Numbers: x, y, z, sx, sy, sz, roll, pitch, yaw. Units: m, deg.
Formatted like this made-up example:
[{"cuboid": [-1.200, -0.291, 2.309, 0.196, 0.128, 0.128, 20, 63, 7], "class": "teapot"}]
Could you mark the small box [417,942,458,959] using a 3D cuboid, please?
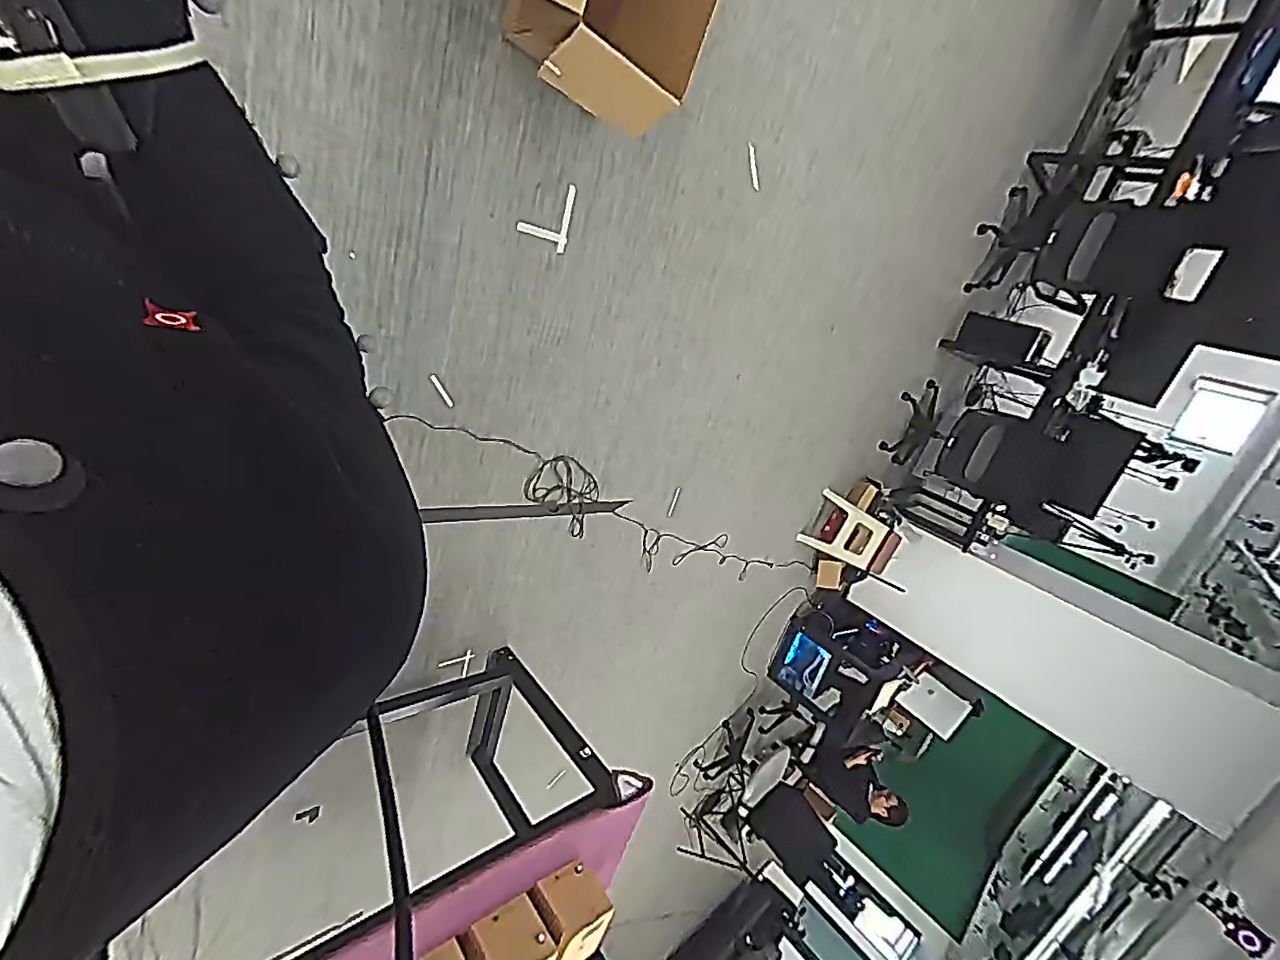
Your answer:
[{"cuboid": [-0.489, 1.218, 1.223, 0.168, 0.176, 0.179, 2, 114, -48], "class": "small box"}]
